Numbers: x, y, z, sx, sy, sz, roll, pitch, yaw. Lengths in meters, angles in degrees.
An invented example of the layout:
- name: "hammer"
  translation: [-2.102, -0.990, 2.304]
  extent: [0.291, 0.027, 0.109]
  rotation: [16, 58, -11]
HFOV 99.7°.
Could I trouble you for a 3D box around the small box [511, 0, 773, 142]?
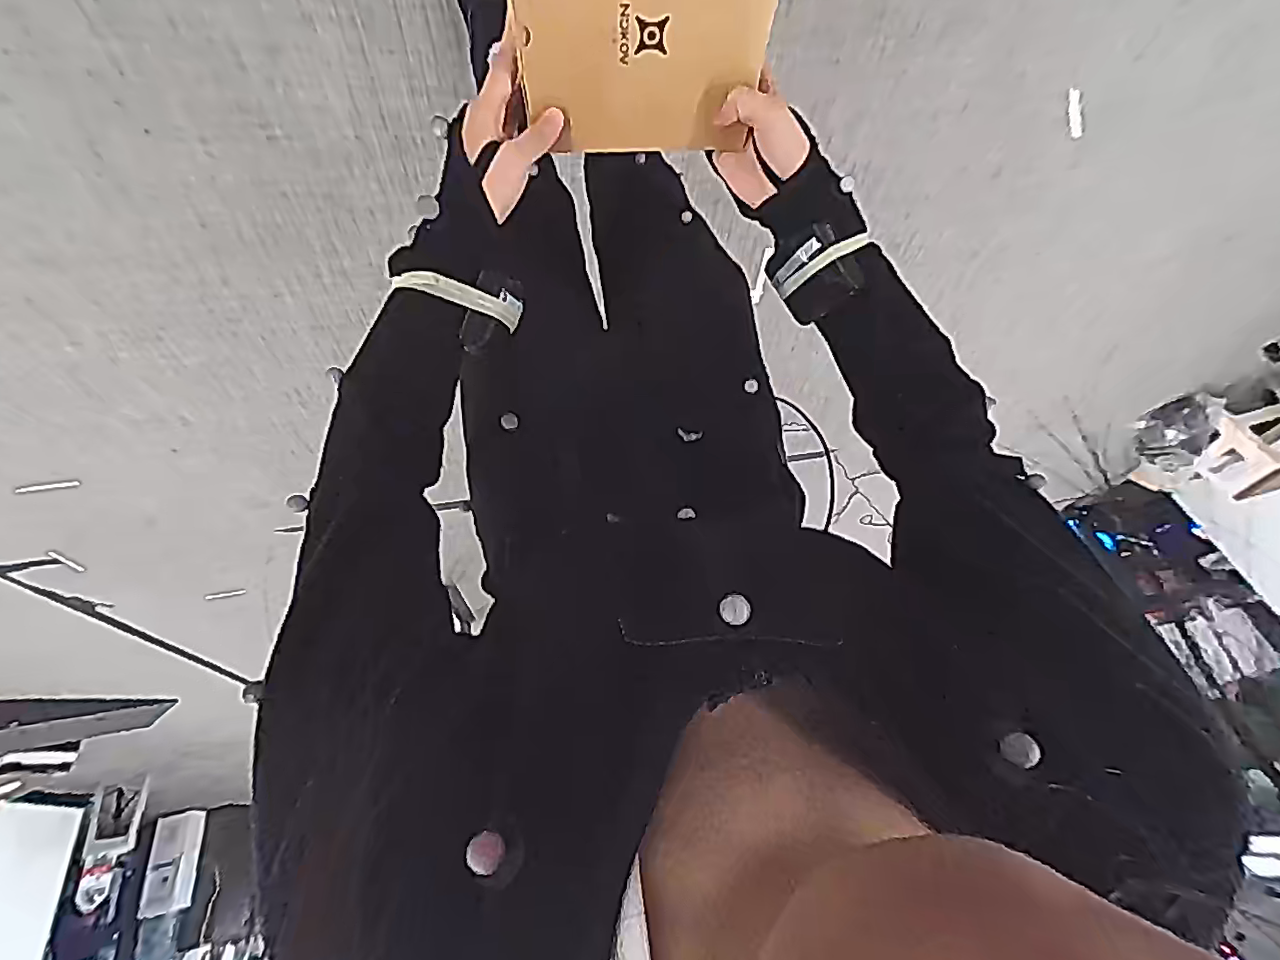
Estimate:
- name: "small box"
  translation: [-0.006, -0.382, 0.394]
  extent: [0.179, 0.176, 0.168]
  rotation: [-4, 157, -5]
